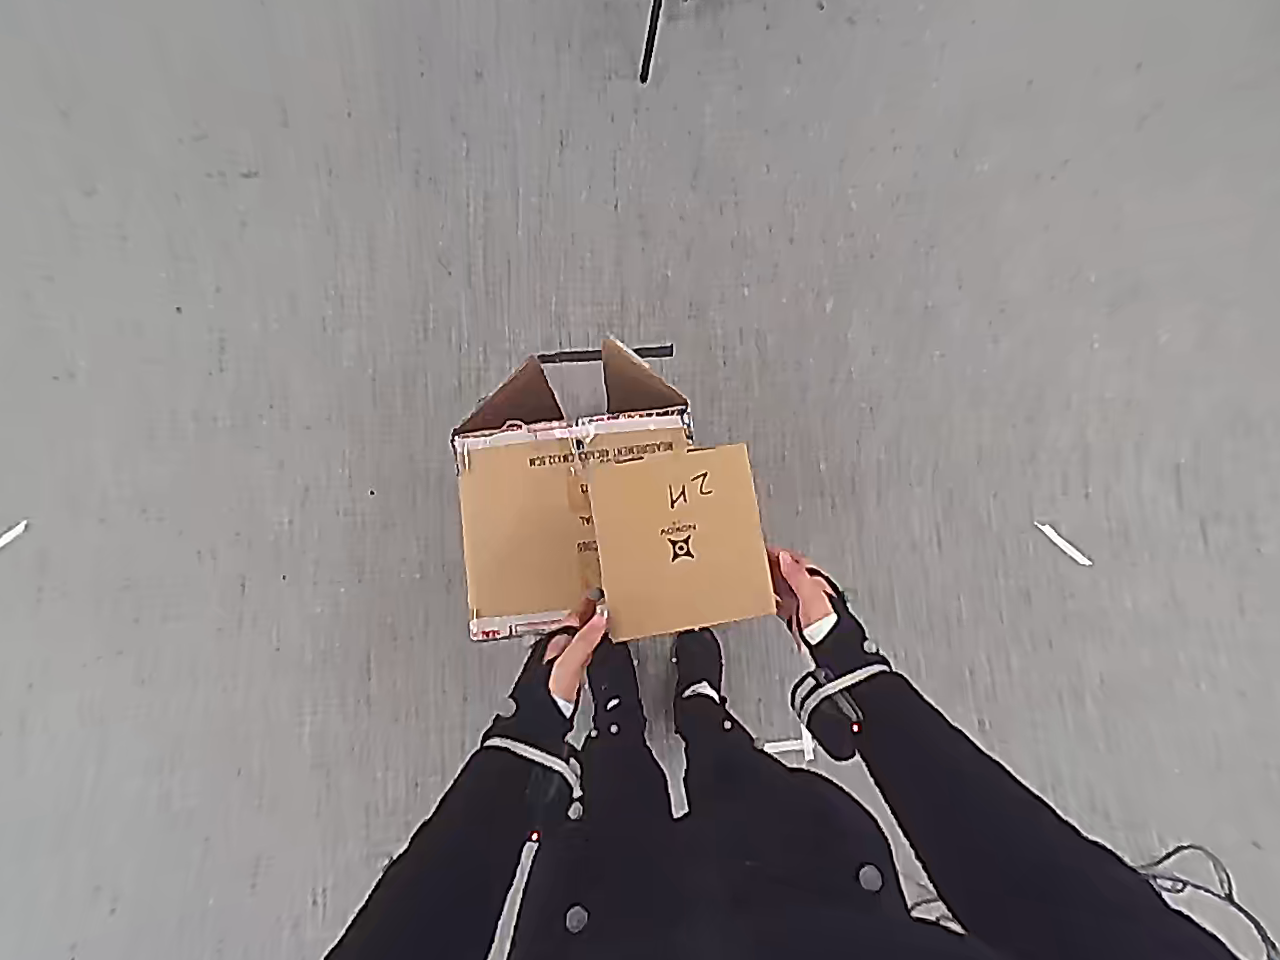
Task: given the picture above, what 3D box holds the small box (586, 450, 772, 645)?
[{"bbox_3d":[0.035,0.073,0.616,0.168,0.176,0.179,-9,84,-5],"label":"small box"}]
